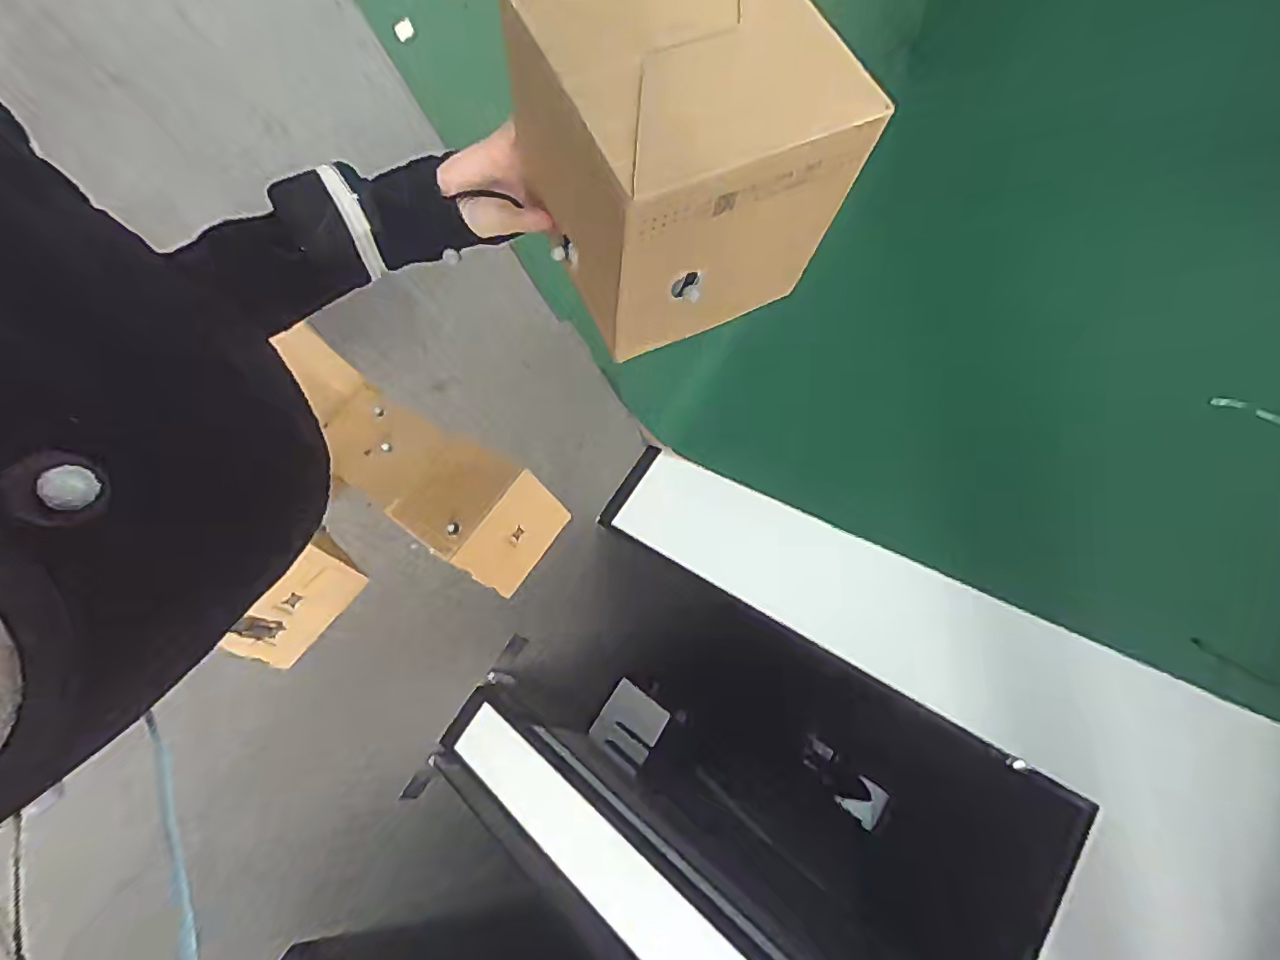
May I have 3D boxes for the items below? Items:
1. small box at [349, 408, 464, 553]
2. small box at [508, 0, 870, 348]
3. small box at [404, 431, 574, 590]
[{"bbox_3d":[-0.377,-0.004,0.981,0.168,0.176,0.179,-51,145,-19],"label":"small box"},{"bbox_3d":[0.022,-0.229,0.365,0.168,0.179,0.176,-26,169,-11],"label":"small box"},{"bbox_3d":[-0.248,0.045,0.893,0.179,0.176,0.168,-54,146,-14],"label":"small box"}]
